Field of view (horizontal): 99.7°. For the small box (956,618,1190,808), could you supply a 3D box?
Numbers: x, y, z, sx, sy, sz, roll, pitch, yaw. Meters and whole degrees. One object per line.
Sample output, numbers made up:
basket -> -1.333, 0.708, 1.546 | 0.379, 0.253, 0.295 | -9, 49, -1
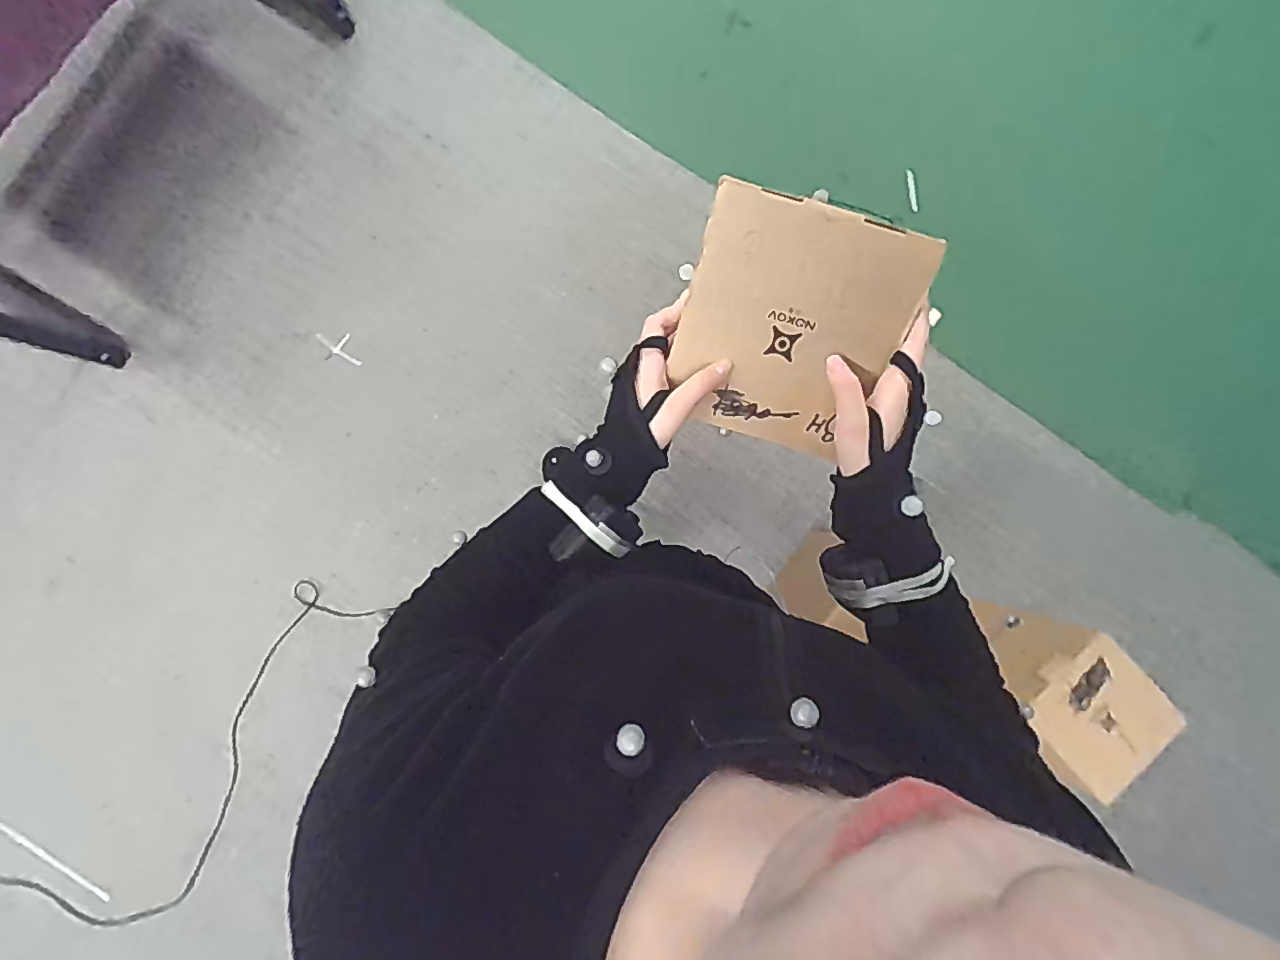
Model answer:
small box -> 0.624, 0.326, 0.805 | 0.168, 0.176, 0.179 | -42, 91, -3

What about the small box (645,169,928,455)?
small box -> 0.112, -0.150, 0.481 | 0.168, 0.176, 0.179 | 17, 115, 2
